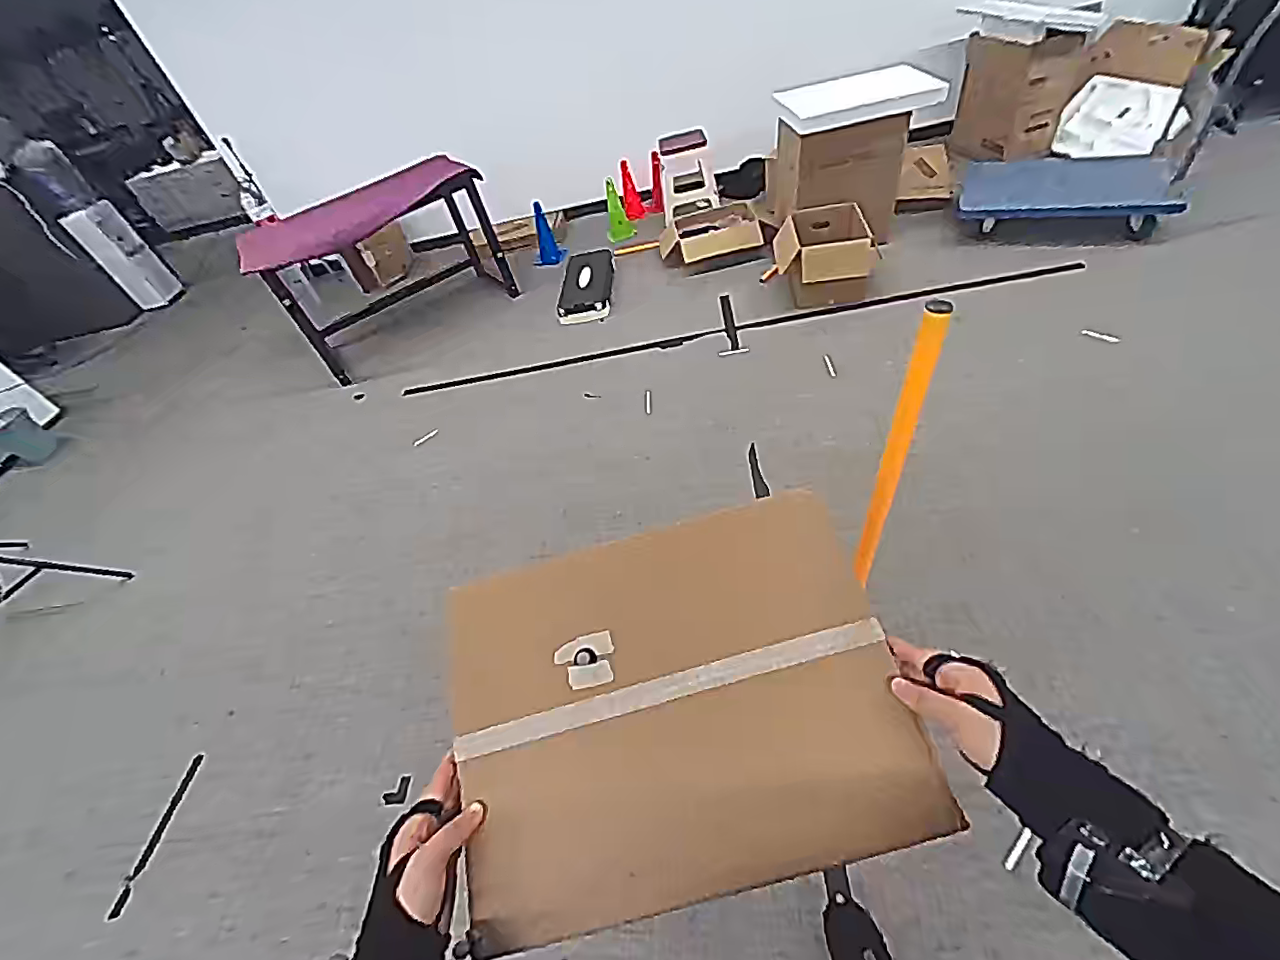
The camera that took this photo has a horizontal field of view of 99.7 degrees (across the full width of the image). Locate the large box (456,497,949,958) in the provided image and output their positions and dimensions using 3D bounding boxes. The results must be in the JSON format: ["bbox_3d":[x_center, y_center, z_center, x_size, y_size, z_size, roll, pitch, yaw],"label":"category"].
[{"bbox_3d":[0.052,0.270,0.641,0.408,0.320,0.320,-17,60,1],"label":"large box"}]
